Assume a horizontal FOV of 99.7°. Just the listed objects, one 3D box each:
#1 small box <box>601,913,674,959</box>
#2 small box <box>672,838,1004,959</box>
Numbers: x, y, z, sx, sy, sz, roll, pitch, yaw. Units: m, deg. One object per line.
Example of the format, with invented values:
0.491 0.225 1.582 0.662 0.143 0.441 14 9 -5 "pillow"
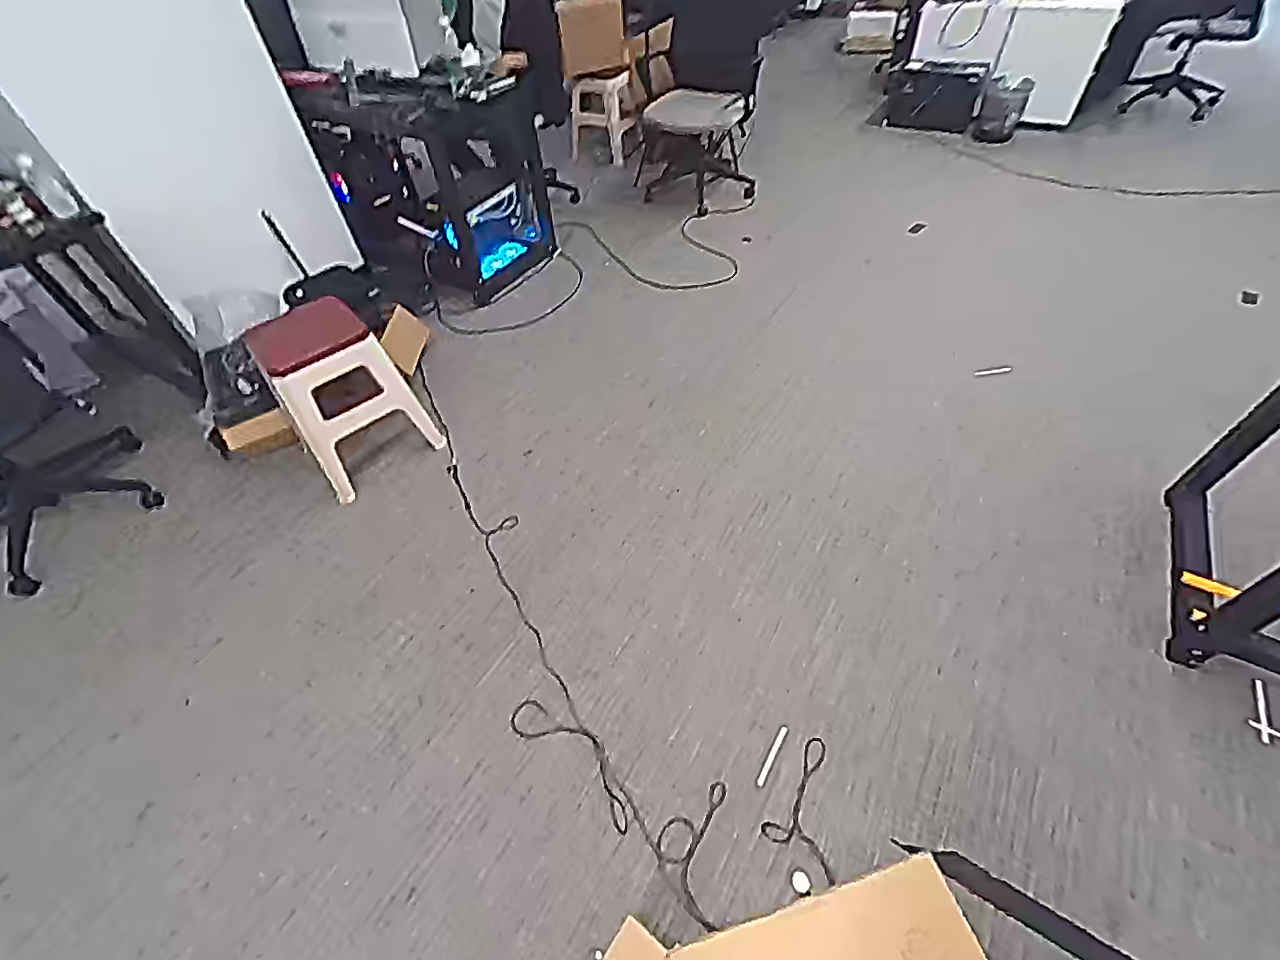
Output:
0.000 0.853 0.875 0.168 0.176 0.179 28 58 27 "small box"
0.138 0.352 0.334 0.179 0.176 0.168 -20 50 -1 "small box"
